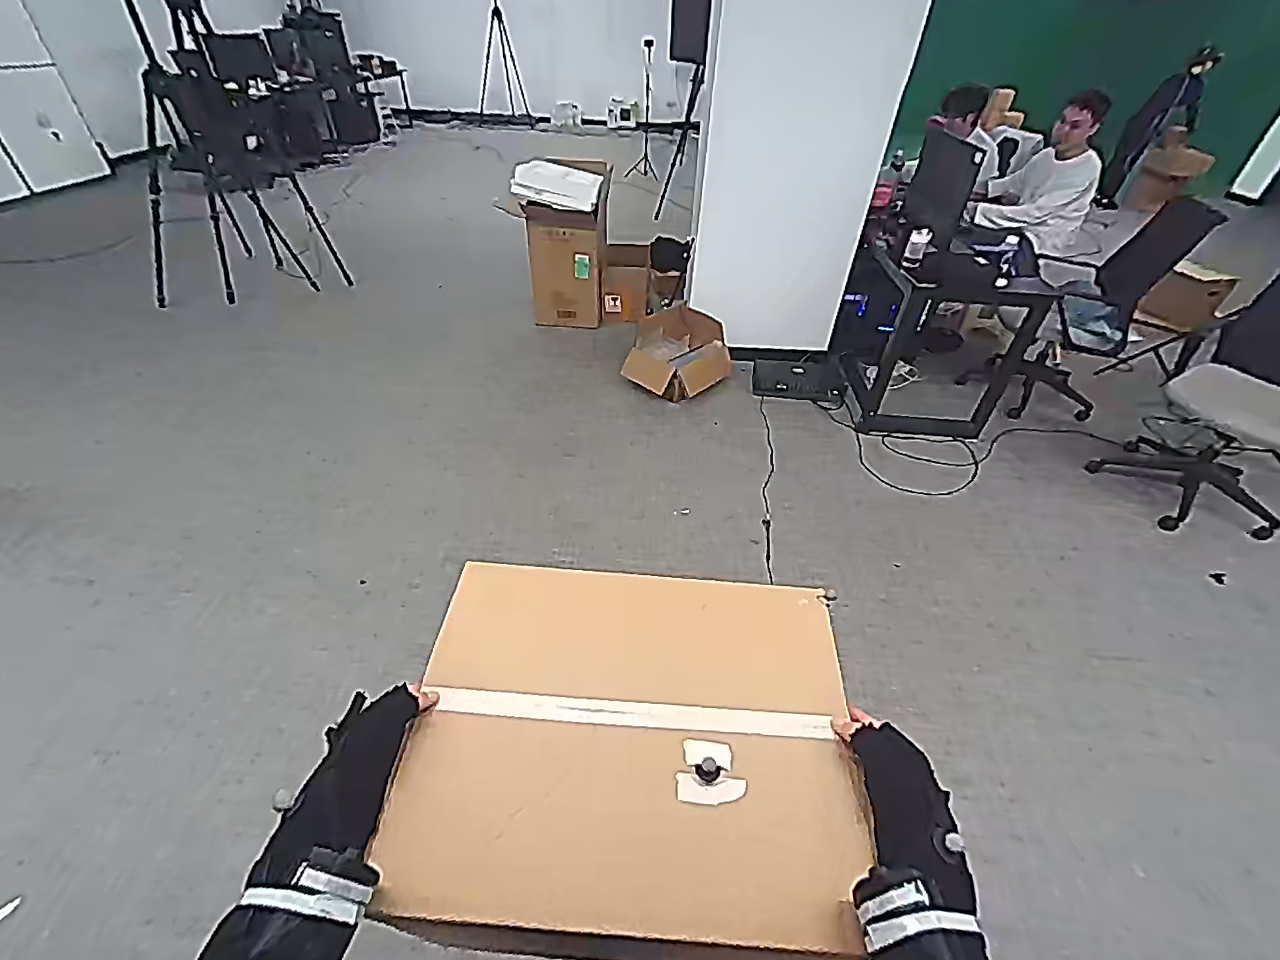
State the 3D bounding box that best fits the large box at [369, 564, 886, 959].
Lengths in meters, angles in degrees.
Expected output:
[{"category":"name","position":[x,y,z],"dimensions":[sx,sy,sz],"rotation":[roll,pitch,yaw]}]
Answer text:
[{"category":"large box","position":[-0.011,0.322,0.616],"dimensions":[0.408,0.320,0.320],"rotation":[5,46,0]}]
